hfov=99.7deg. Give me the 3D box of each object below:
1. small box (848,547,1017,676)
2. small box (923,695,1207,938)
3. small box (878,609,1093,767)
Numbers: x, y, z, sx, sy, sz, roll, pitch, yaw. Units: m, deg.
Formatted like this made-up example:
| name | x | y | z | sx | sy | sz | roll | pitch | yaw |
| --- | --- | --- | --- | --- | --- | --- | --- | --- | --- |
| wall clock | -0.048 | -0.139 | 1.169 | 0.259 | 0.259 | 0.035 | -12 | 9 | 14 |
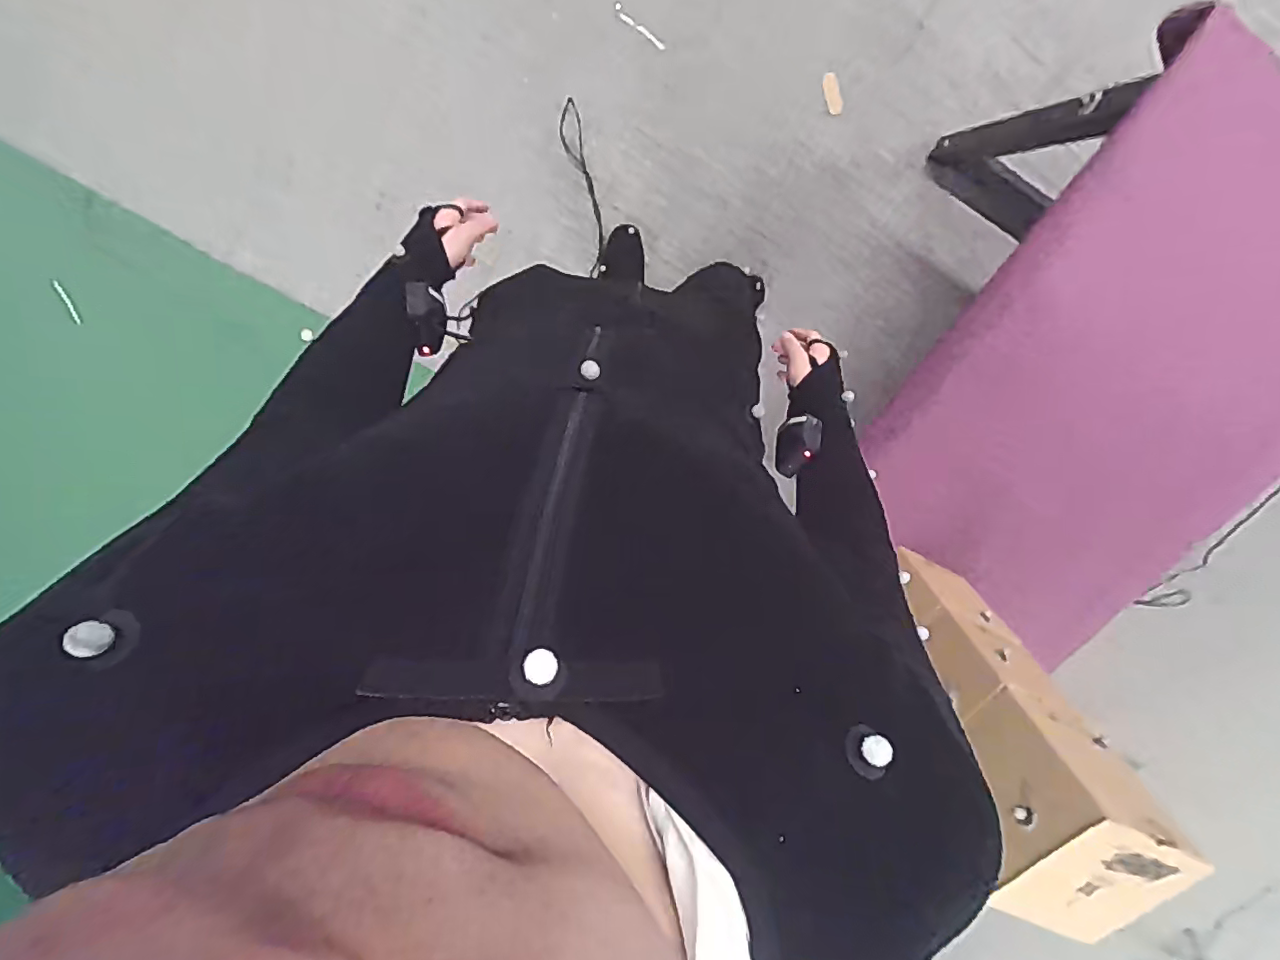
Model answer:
| name | x | y | z | sx | sy | sz | roll | pitch | yaw |
| --- | --- | --- | --- | --- | --- | --- | --- | --- | --- |
| small box | 0.495 | 0.254 | 0.953 | 0.168 | 0.176 | 0.179 | 27 | 114 | -12 |
| small box | 0.492 | 0.401 | 0.661 | 0.168 | 0.176 | 0.179 | 27 | 113 | -11 |
| small box | 0.494 | 0.327 | 0.807 | 0.168 | 0.176 | 0.179 | 28 | 113 | -12 |
